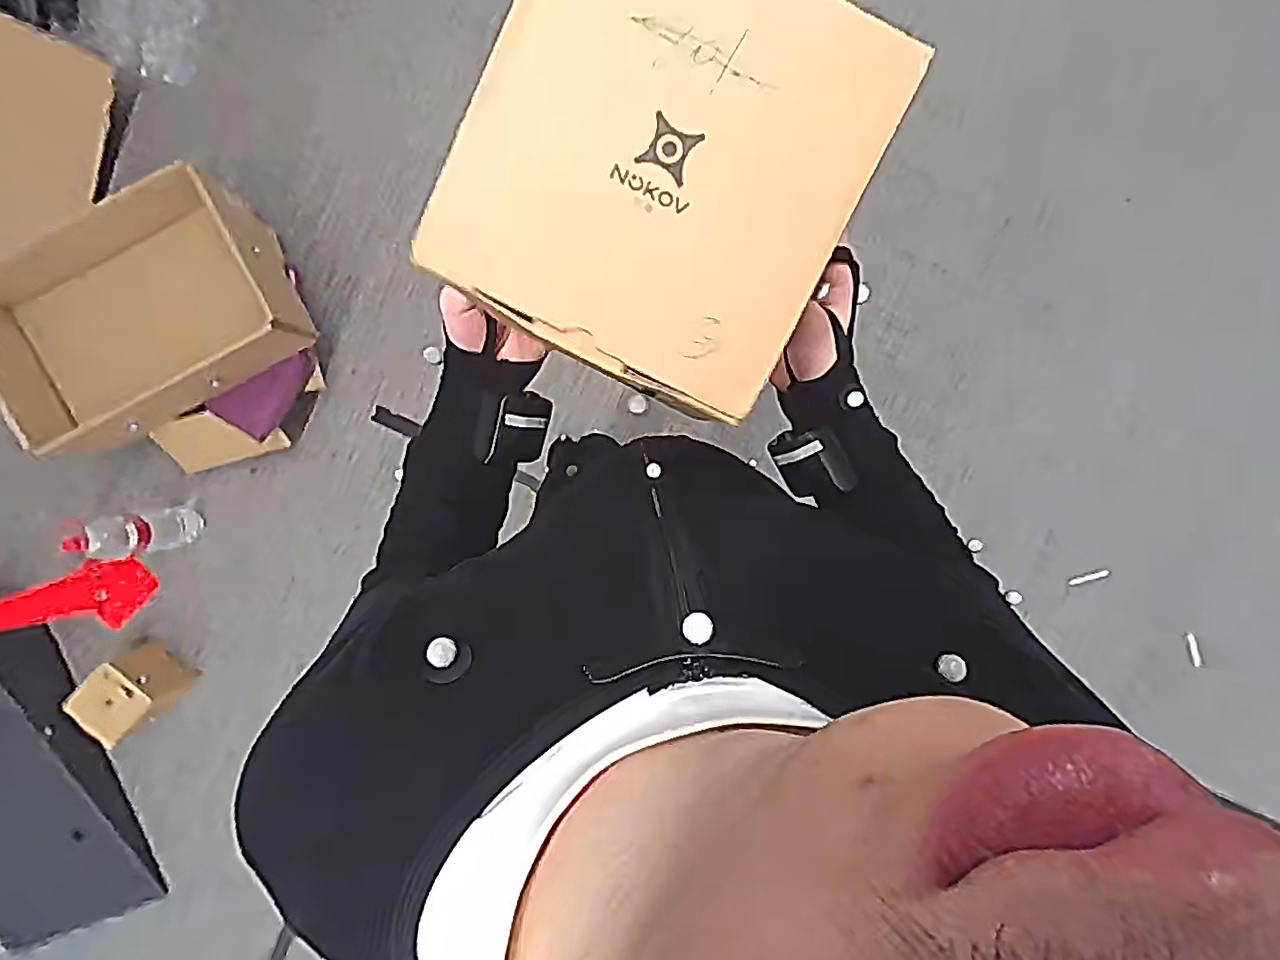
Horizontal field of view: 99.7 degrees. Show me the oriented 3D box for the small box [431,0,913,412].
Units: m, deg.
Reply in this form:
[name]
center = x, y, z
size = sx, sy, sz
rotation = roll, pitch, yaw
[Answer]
[small box]
center = 0.012, -0.153, 0.320
size = 0.168, 0.176, 0.179
rotation = 24, 97, -4
